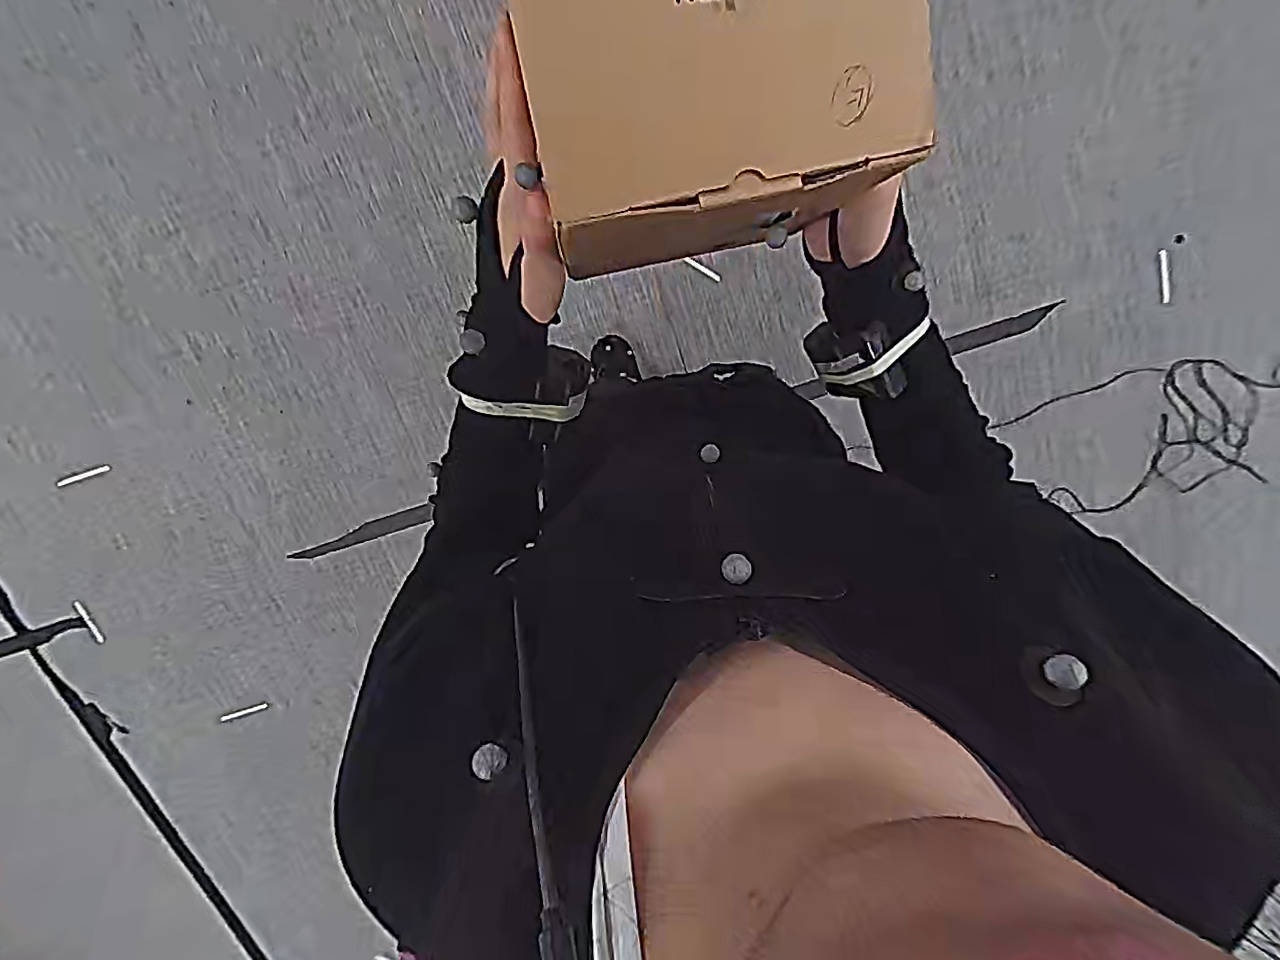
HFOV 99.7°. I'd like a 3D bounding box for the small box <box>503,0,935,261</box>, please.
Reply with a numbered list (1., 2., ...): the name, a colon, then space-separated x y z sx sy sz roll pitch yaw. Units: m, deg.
1. small box: 0.019 -0.223 0.280 0.168 0.176 0.179 -14 103 -3
